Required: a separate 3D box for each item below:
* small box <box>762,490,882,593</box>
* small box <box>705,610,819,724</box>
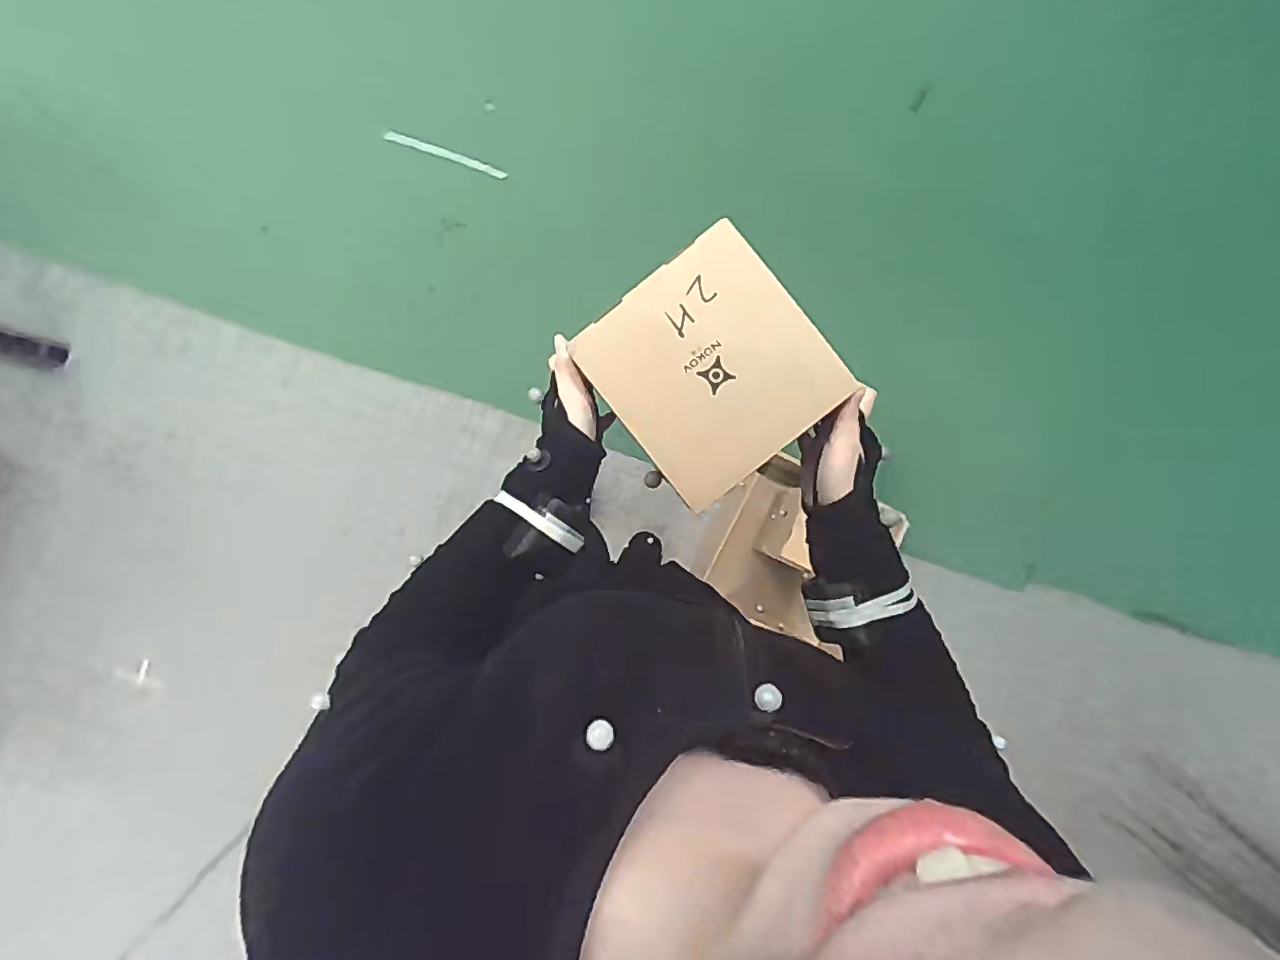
[{"bbox_3d":[0.402,0.132,1.224,0.179,0.176,0.168,27,87,1],"label":"small box"},{"bbox_3d":[0.260,0.404,1.201,0.179,0.176,0.168,26,86,0],"label":"small box"}]
